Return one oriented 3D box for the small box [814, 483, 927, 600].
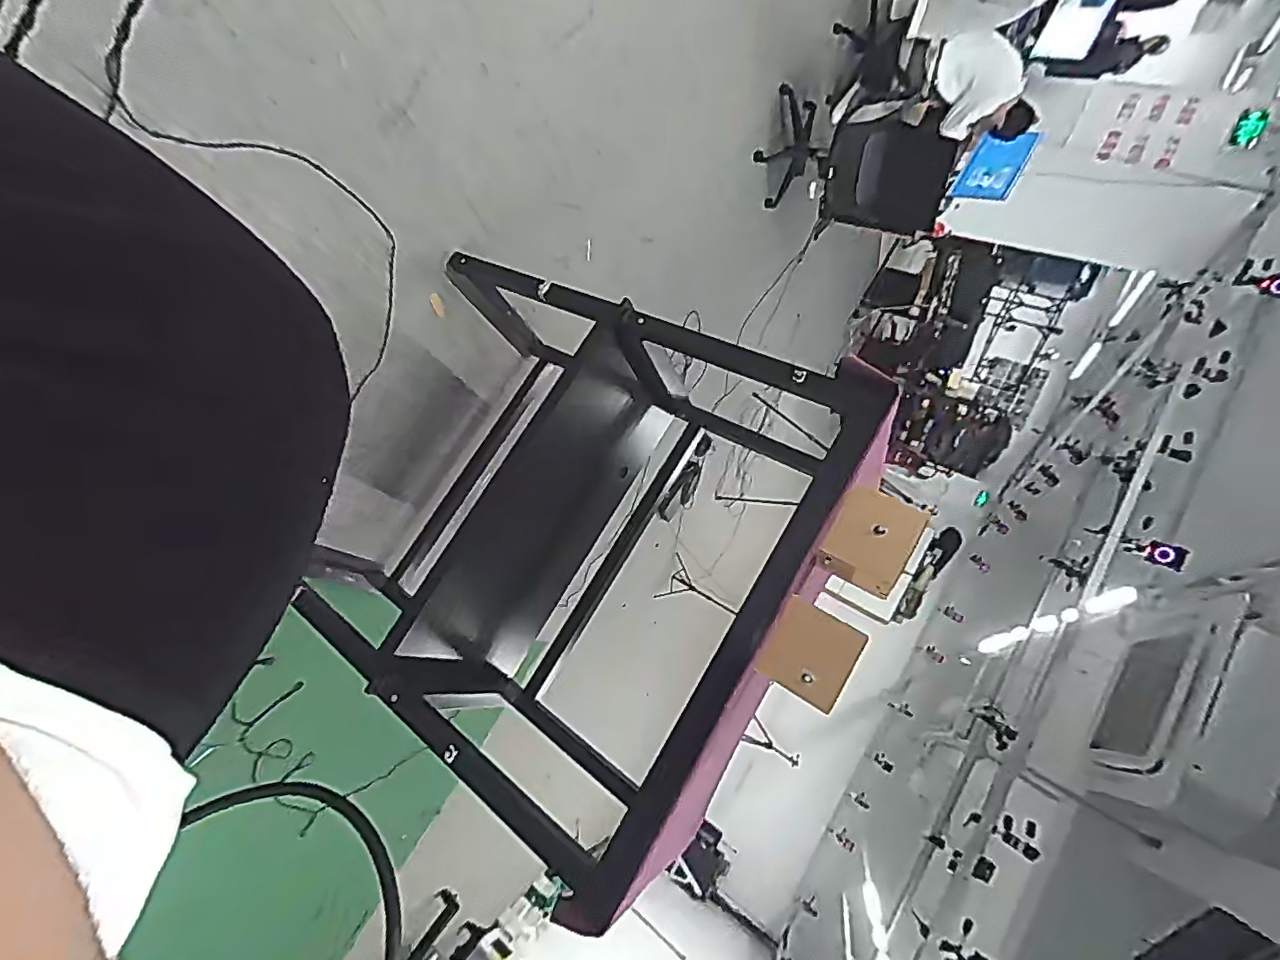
[{"bbox_3d":[0.496,0.136,1.187,0.179,0.176,0.168,-59,154,-10],"label":"small box"}]
